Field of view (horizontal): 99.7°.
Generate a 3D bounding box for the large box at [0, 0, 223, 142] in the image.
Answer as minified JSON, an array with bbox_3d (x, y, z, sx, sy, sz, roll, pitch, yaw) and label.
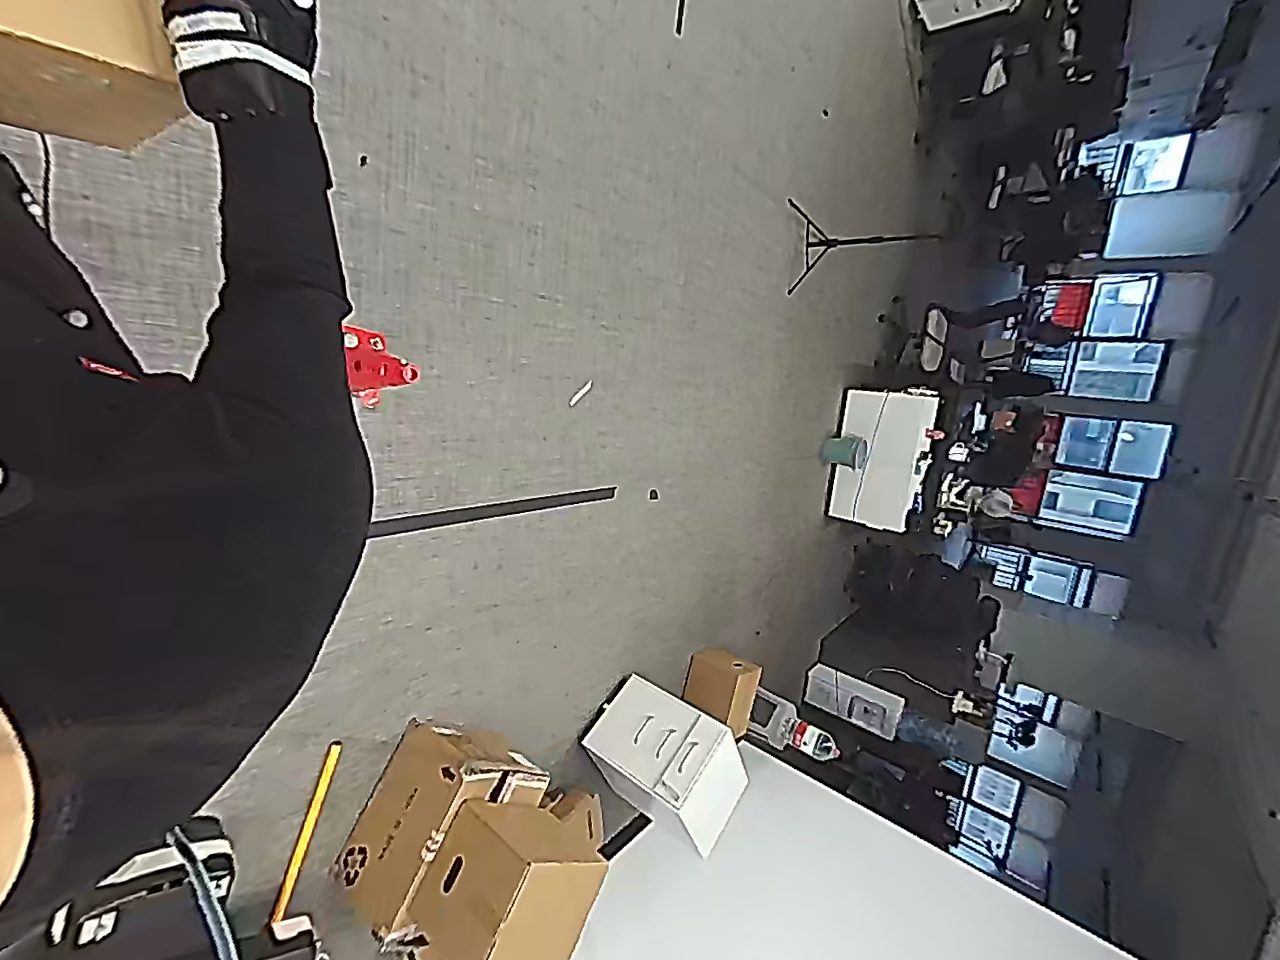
[{"bbox_3d":[-0.532,-0.426,0.285,0.408,0.320,0.320,-16,116,-50],"label":"large box"}]
